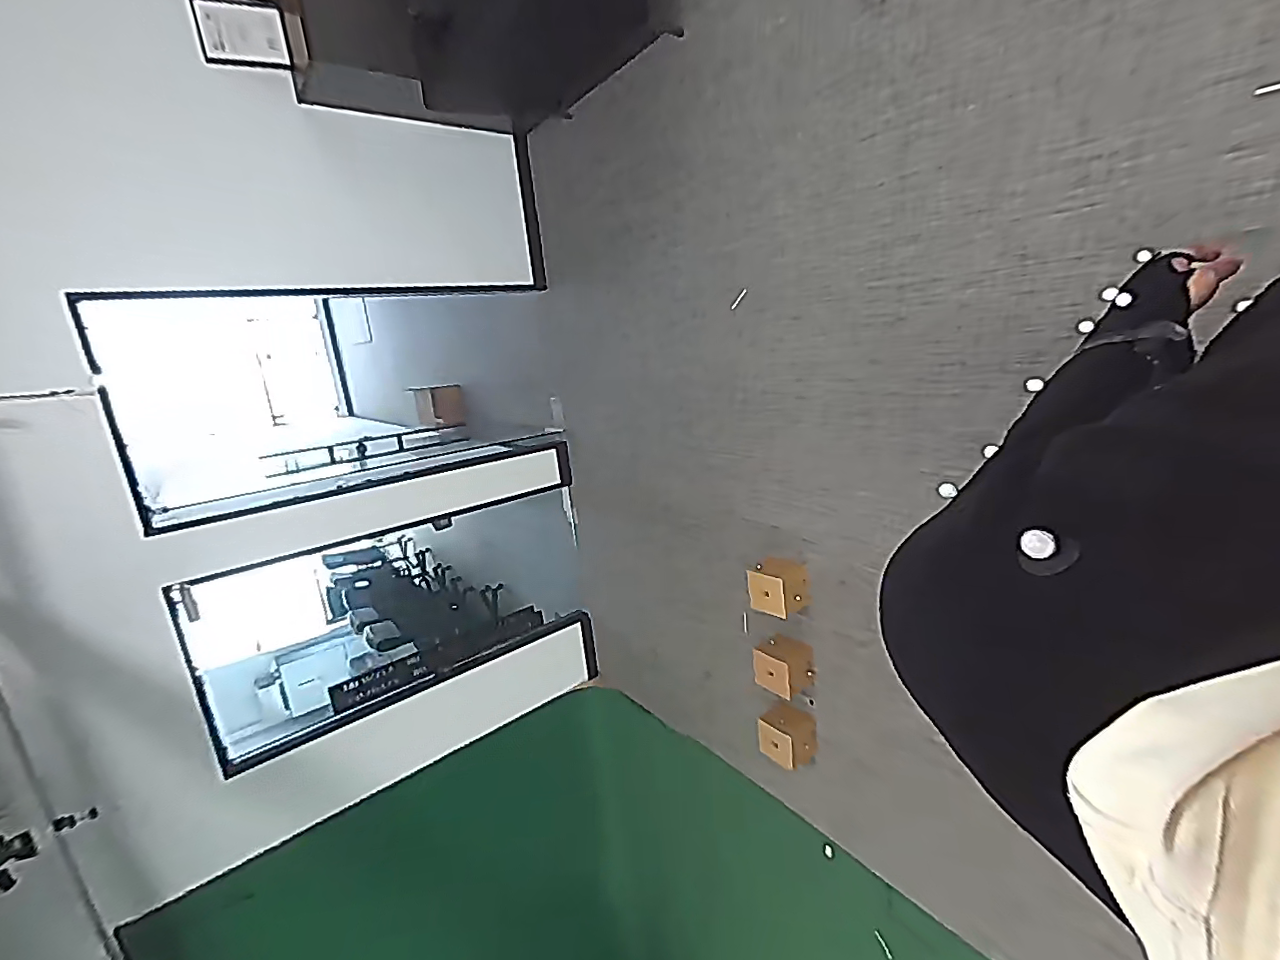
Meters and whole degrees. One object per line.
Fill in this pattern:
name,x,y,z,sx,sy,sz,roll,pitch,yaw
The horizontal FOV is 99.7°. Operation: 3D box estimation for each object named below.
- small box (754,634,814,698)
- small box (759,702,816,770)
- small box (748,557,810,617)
small box,0.595,0.757,2.223,0.179,0.176,0.168,11,112,51
small box,0.629,1.076,2.294,0.179,0.176,0.168,11,111,52
small box,0.557,0.418,2.145,0.179,0.176,0.168,6,108,53
